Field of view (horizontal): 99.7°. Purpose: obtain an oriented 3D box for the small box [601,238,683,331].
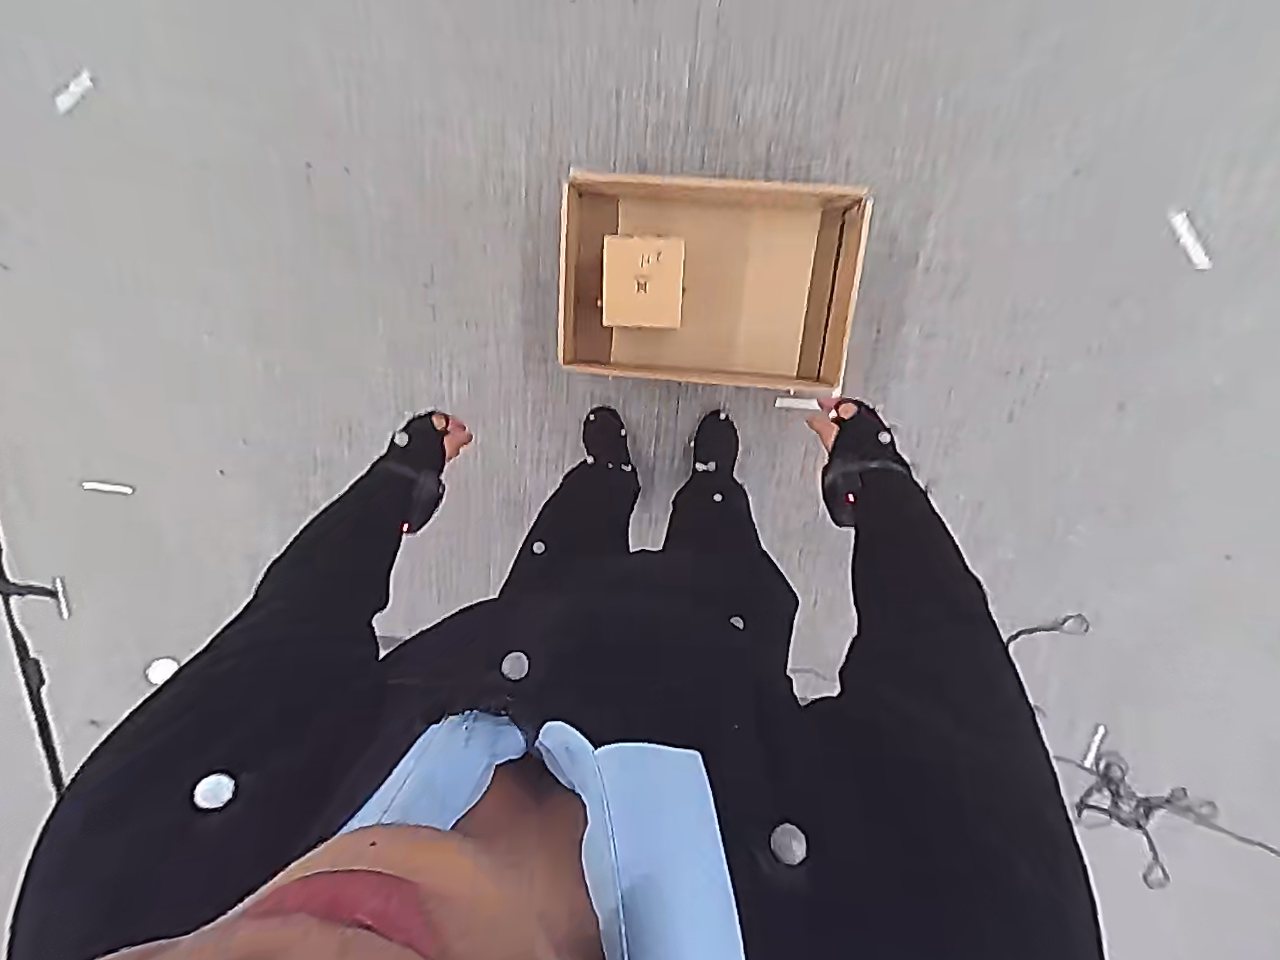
[{"bbox_3d":[0.008,-0.421,1.187,0.168,0.176,0.179,3,105,3],"label":"small box"}]
